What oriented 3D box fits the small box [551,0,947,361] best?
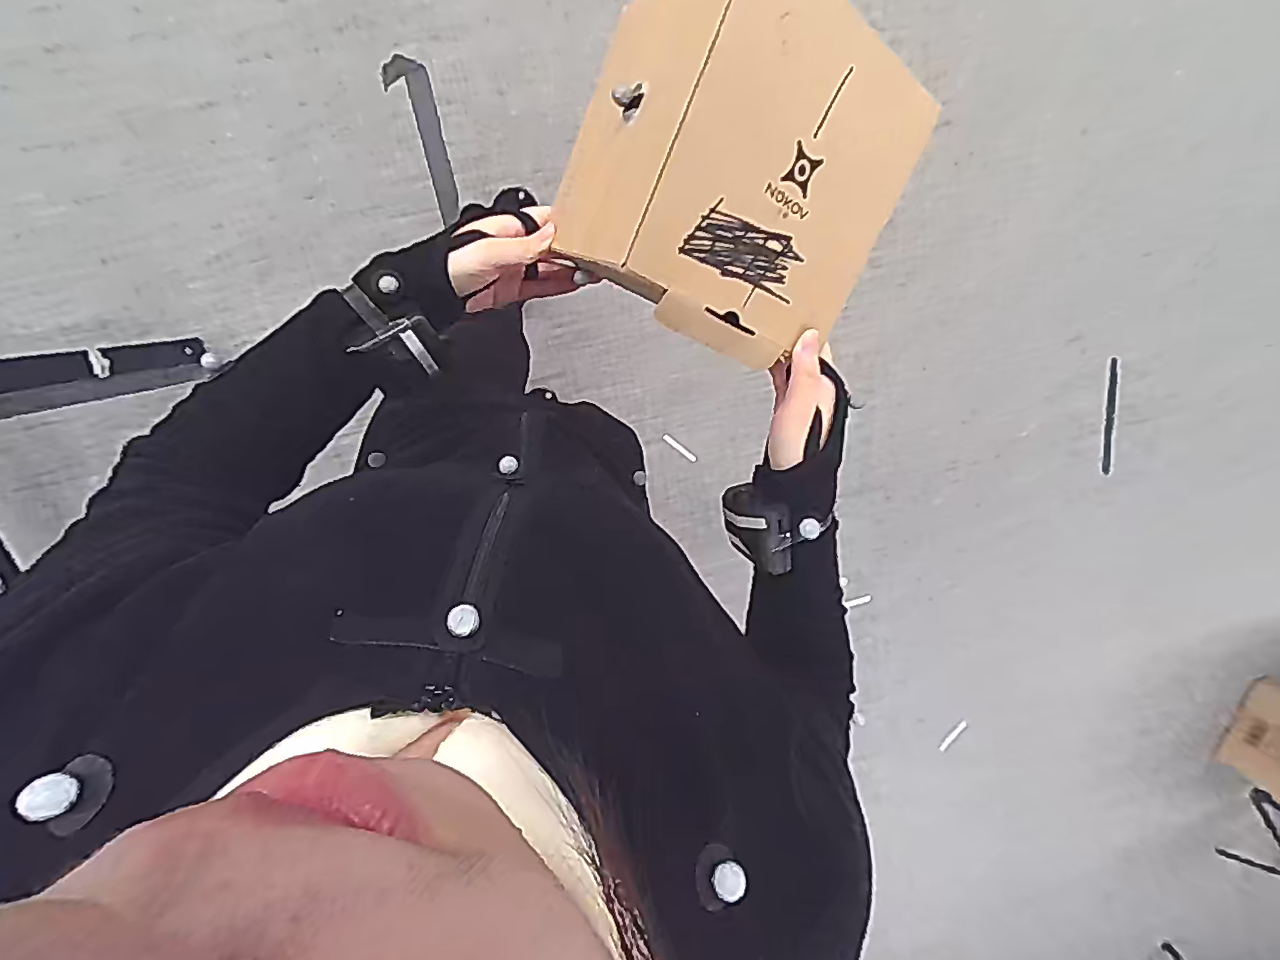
[{"bbox_3d":[0.054,-0.208,0.372,0.168,0.176,0.179,14,107,-33],"label":"small box"}]
